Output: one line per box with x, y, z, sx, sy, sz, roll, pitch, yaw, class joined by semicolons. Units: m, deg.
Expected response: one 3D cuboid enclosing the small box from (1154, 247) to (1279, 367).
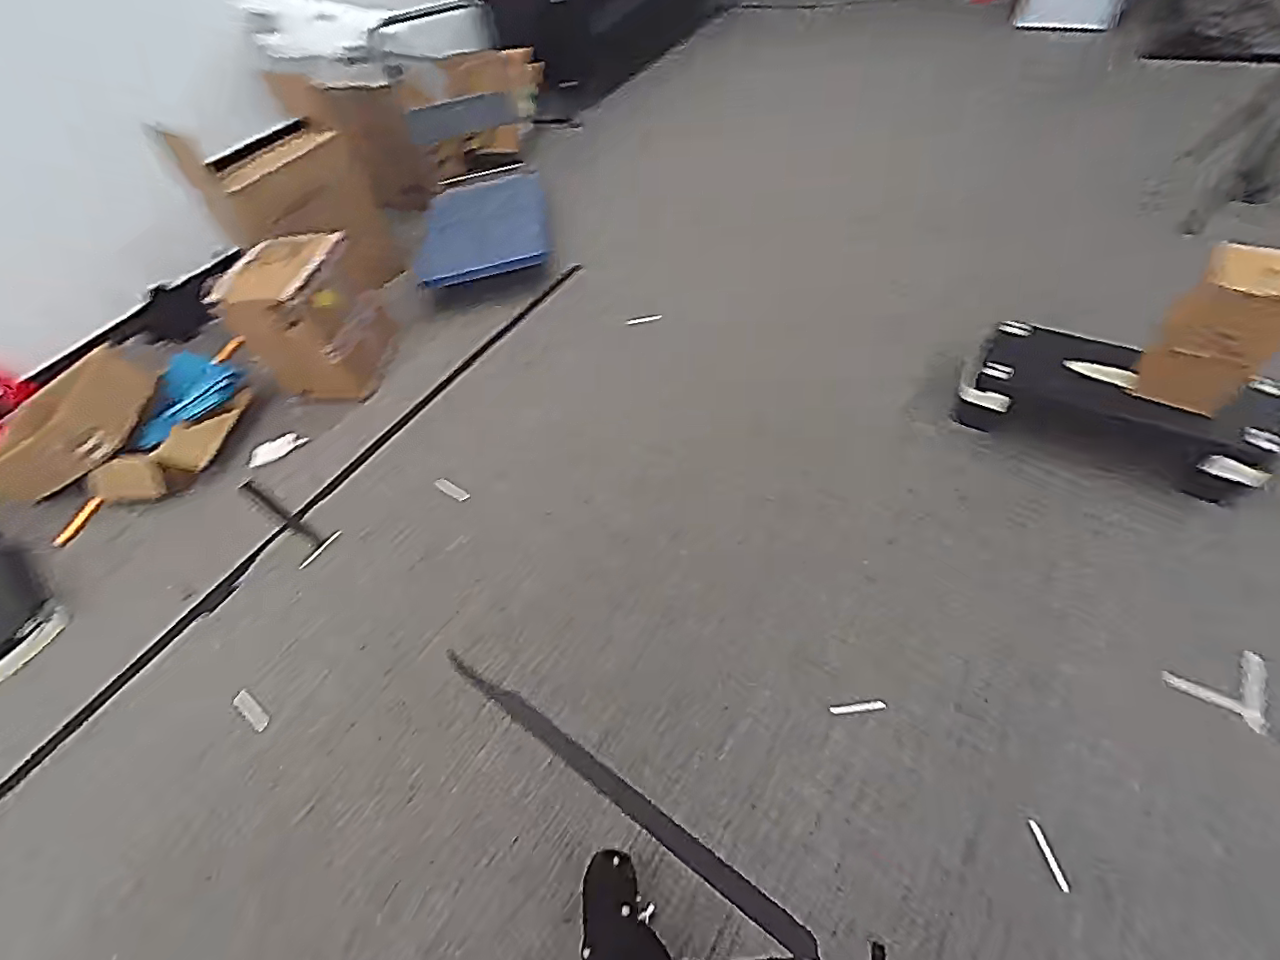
1.302;-0.386;1.209;0.168;0.176;0.179;22;61;25;small box

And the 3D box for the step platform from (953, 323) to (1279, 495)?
1.292;-0.225;1.516;0.684;0.204;0.286;23;60;27;step platform
